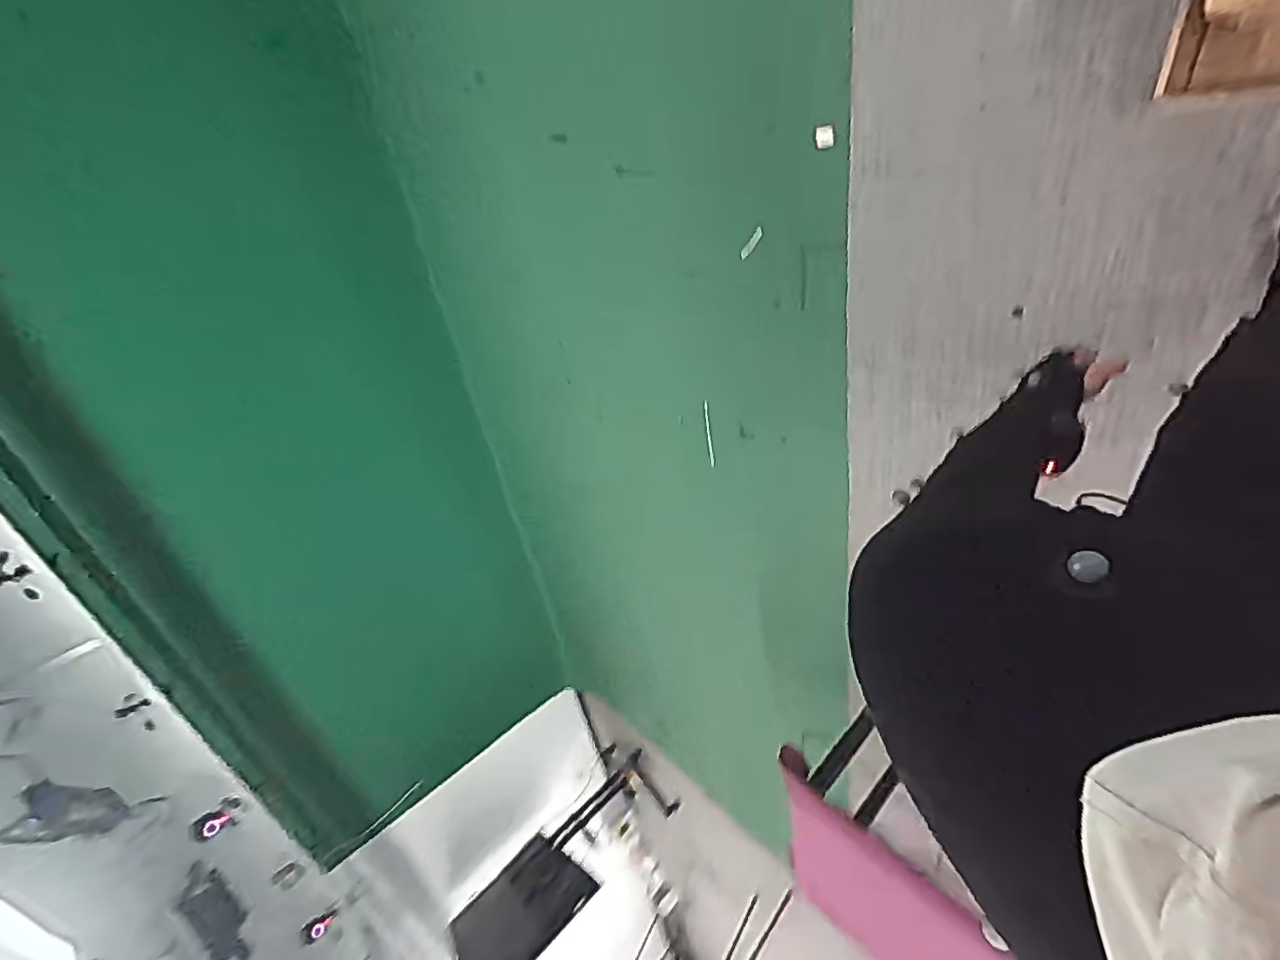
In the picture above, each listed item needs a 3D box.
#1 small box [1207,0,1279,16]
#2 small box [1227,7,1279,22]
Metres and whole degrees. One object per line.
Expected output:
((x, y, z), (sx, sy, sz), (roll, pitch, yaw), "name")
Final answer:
((0.716, -0.599, 0.537), (0.168, 0.176, 0.179), (22, 131, 45), "small box")
((0.835, -0.664, 0.623), (0.168, 0.176, 0.179), (24, 132, 45), "small box")
